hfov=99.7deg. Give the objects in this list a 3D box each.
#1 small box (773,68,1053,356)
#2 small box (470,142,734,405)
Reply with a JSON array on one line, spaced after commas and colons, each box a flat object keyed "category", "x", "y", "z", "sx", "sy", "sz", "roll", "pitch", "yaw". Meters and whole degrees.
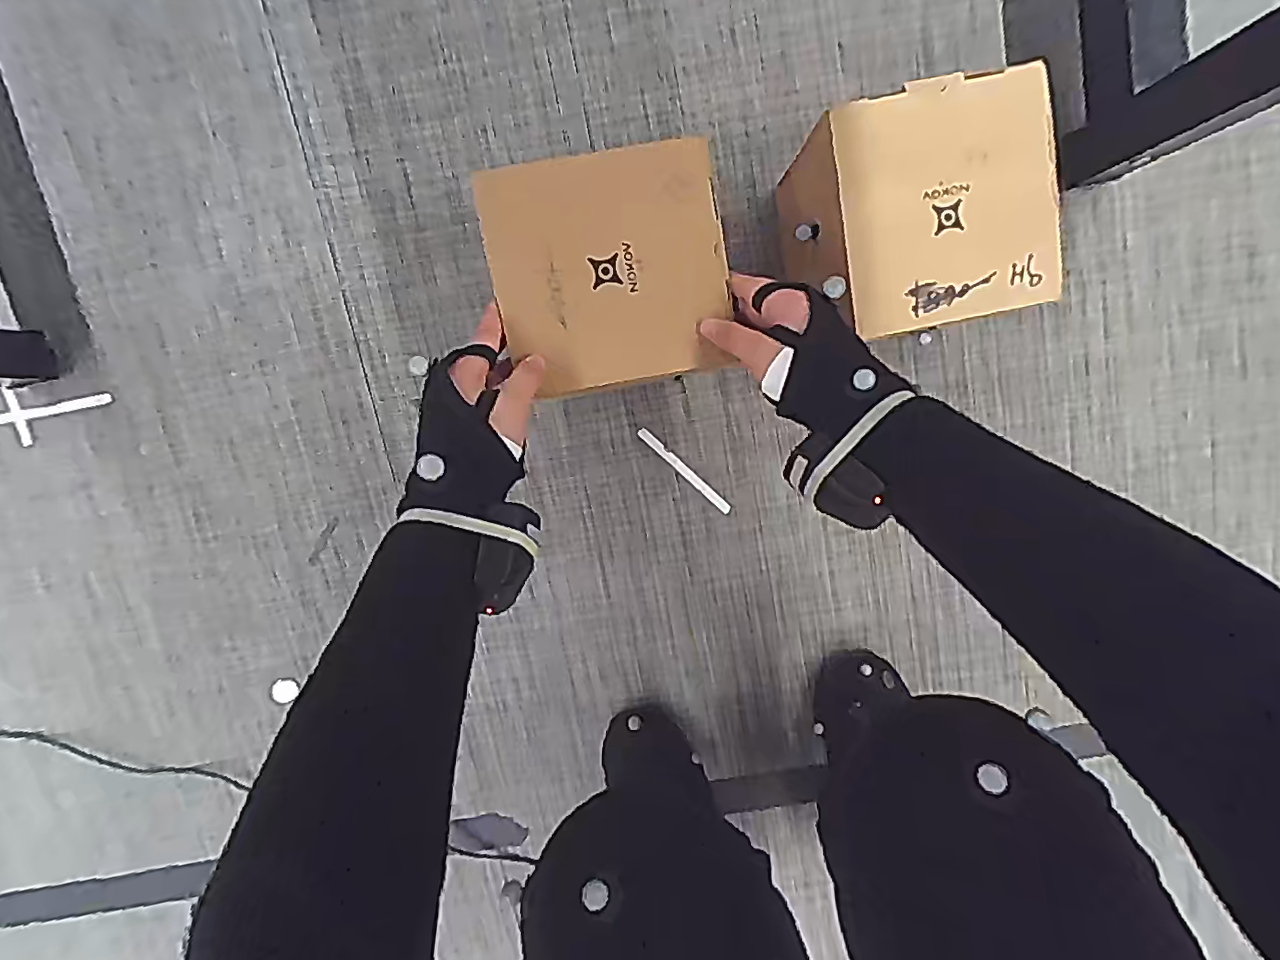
[{"category": "small box", "x": 0.230, "y": -0.222, "z": 0.497, "sx": 0.168, "sy": 0.176, "sz": 0.179, "roll": -11, "pitch": 98, "yaw": 2}, {"category": "small box", "x": -0.029, "y": -0.165, "z": 0.485, "sx": 0.179, "sy": 0.176, "sz": 0.168, "roll": -12, "pitch": 97, "yaw": -1}]
